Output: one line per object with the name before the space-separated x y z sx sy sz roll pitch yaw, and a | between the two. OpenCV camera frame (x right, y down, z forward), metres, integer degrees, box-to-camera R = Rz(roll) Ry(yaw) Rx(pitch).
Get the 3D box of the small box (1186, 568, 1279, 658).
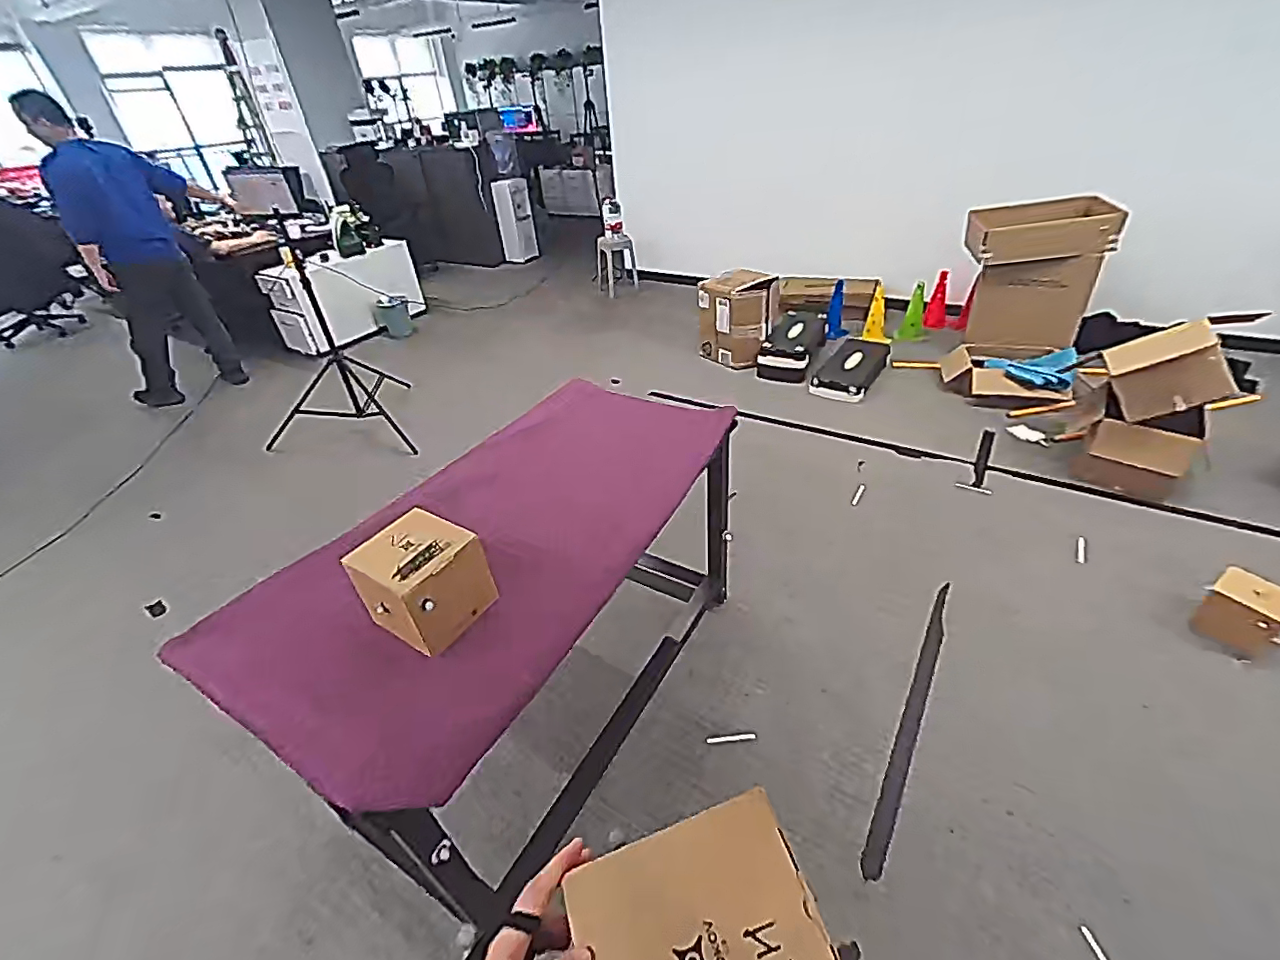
small box | 1.860 0.411 1.669 0.168 0.176 0.179 -23 40 -24
